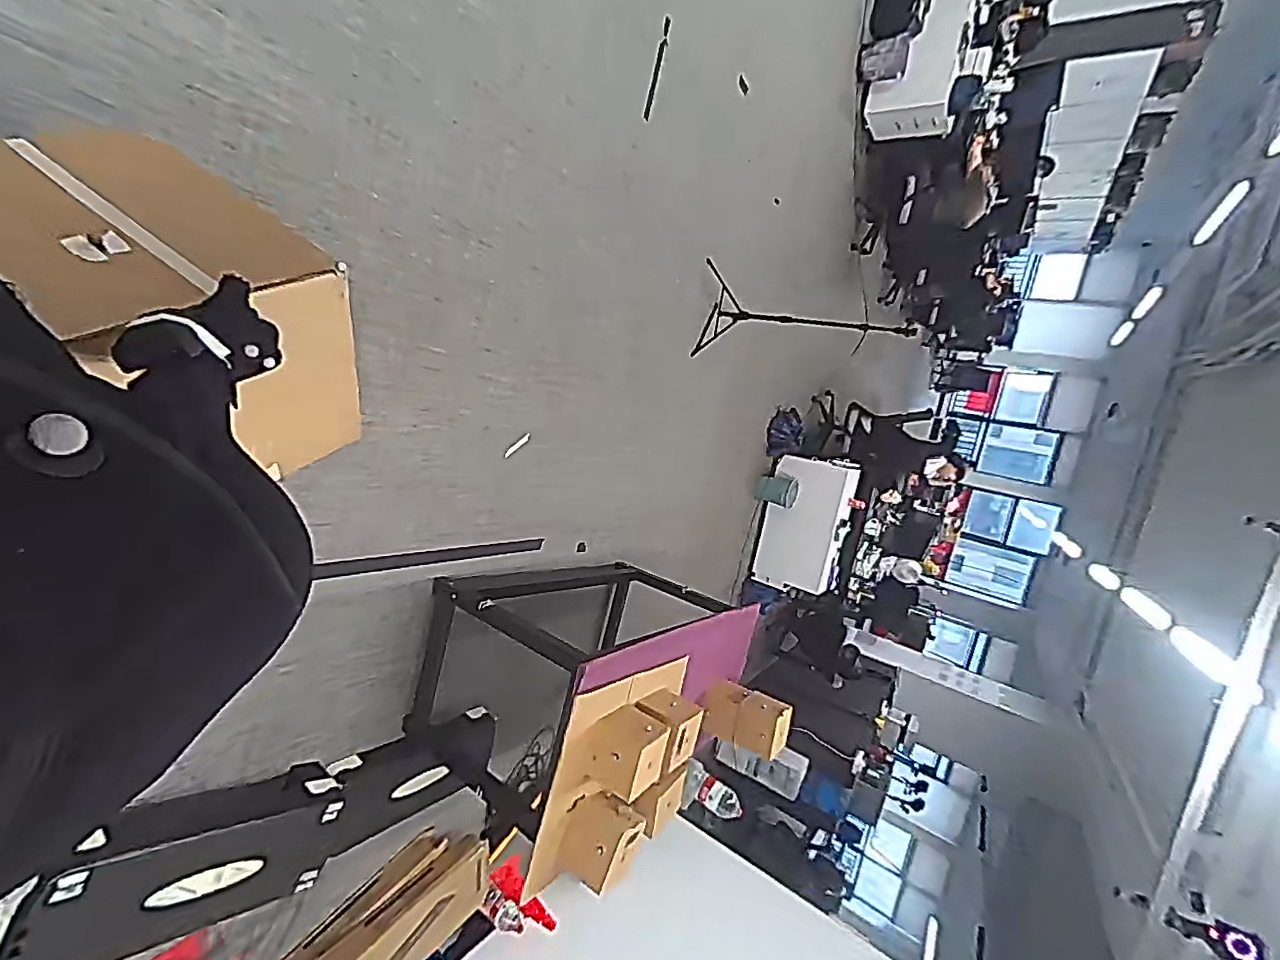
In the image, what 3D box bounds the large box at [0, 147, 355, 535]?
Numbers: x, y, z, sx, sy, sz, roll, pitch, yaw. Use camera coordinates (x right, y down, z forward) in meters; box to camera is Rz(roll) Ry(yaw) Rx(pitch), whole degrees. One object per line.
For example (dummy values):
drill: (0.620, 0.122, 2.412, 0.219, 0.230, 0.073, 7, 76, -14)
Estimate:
large box: (-0.674, -0.203, 0.754, 0.320, 0.408, 0.320, -44, 165, -43)
